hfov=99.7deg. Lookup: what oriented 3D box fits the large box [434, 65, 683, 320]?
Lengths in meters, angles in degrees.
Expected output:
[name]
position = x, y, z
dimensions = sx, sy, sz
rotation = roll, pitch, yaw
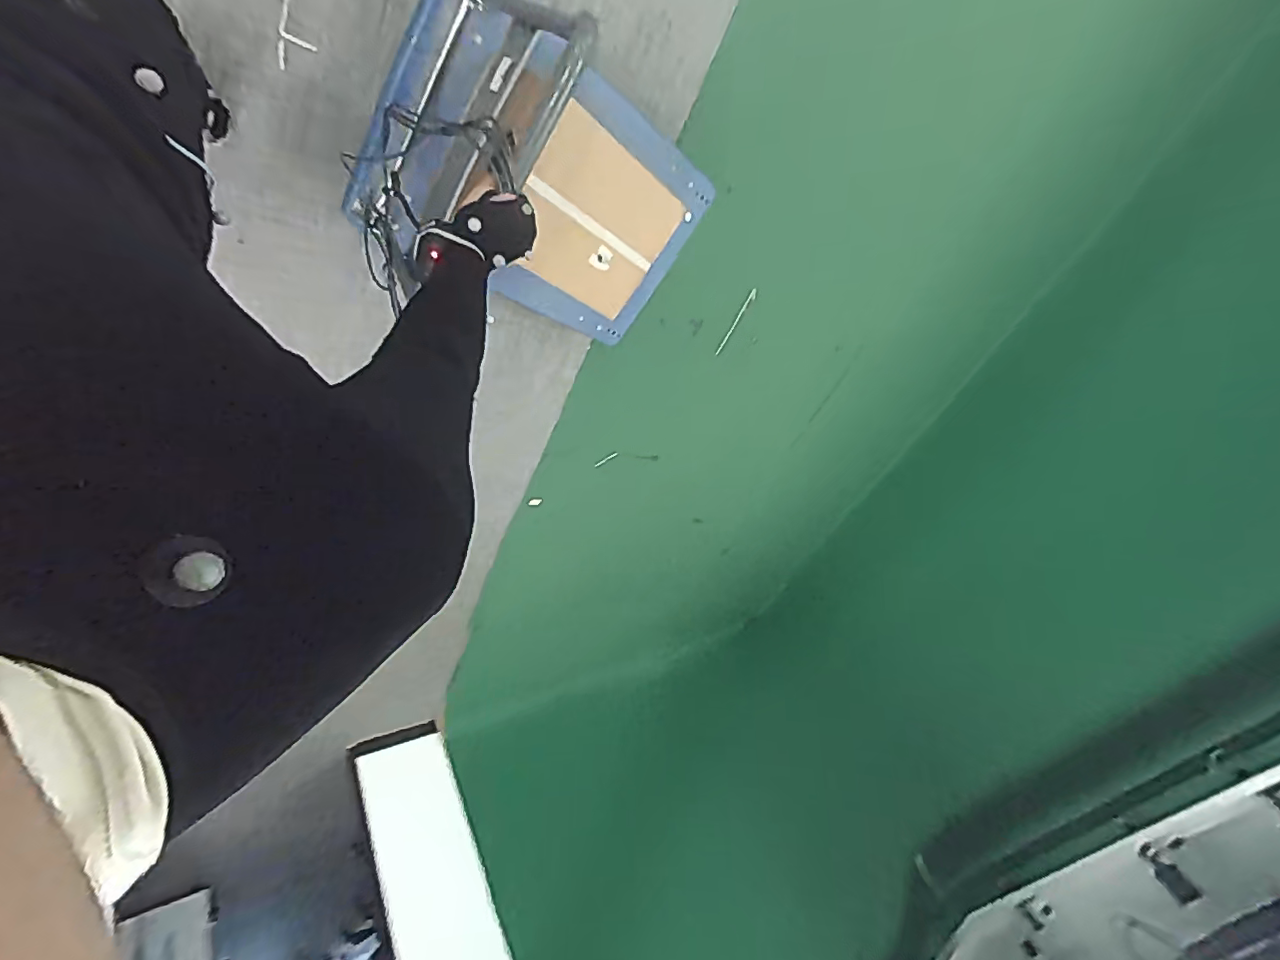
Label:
[large box]
position = -0.189, -0.641, 1.245
dimensions = 0.408, 0.320, 0.320
rotation = 15, 120, -49
